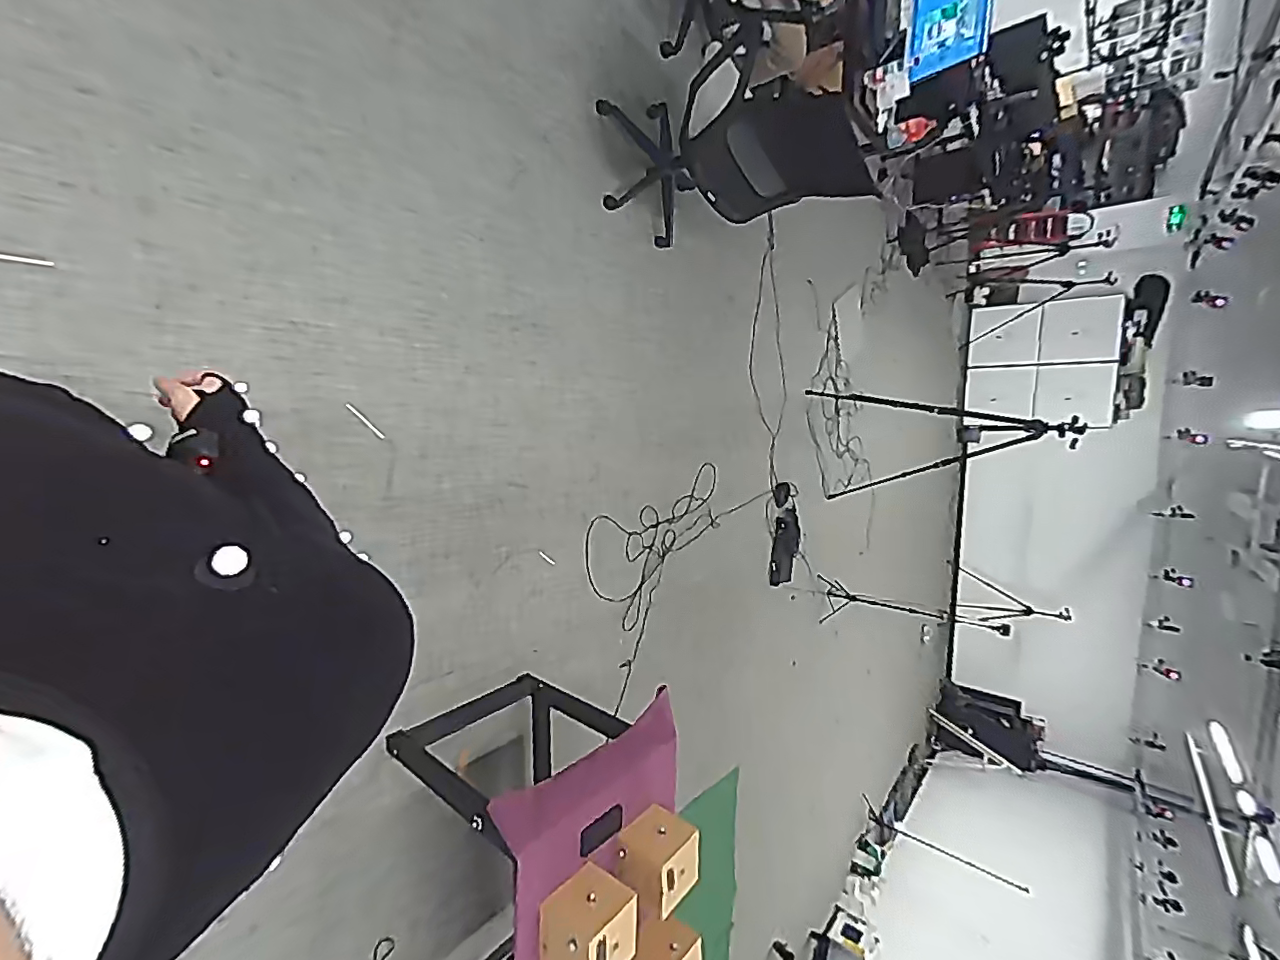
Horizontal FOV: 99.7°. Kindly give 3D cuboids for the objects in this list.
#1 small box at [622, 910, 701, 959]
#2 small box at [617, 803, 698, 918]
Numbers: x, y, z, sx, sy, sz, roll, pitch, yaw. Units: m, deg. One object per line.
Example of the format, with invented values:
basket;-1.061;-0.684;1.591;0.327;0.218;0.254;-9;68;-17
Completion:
small box;0.064;1.432;1.606;0.179;0.176;0.168;-8;100;-49
small box;0.048;1.073;1.541;0.179;0.176;0.168;-9;101;-50
